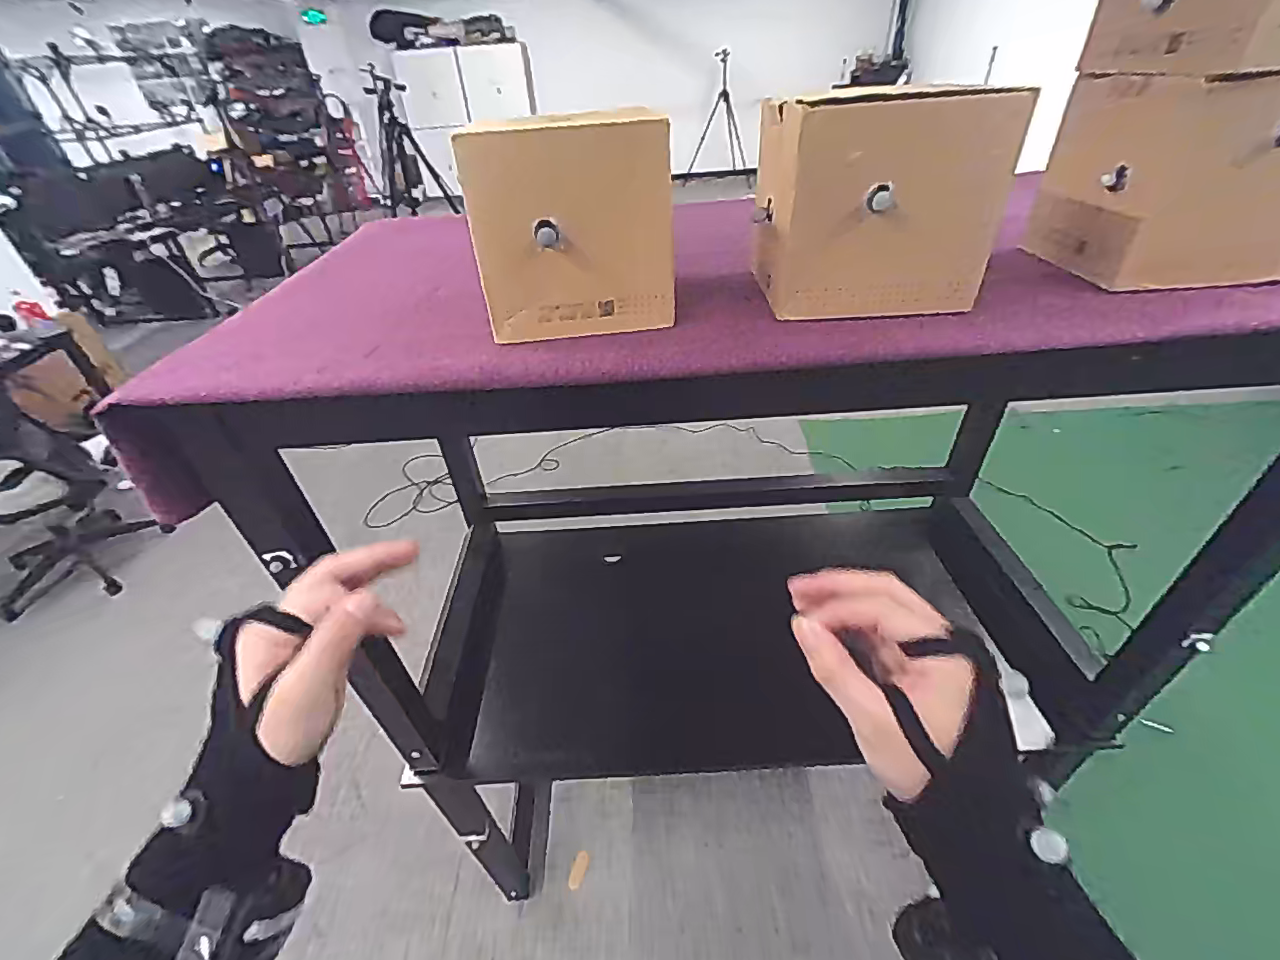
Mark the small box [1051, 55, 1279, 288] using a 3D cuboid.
[{"bbox_3d":[0.516,-0.280,0.485,0.179,0.176,0.168,0,39,5],"label":"small box"}]

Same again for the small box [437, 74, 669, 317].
[{"bbox_3d":[-0.065,-0.256,0.493,0.168,0.176,0.179,-5,38,-3],"label":"small box"}]

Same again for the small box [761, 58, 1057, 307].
[{"bbox_3d":[0.207,-0.263,0.482,0.179,0.176,0.168,-2,39,3],"label":"small box"}]

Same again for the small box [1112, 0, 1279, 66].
[{"bbox_3d":[0.506,-0.407,0.382,0.179,0.176,0.168,-5,39,1],"label":"small box"}]
